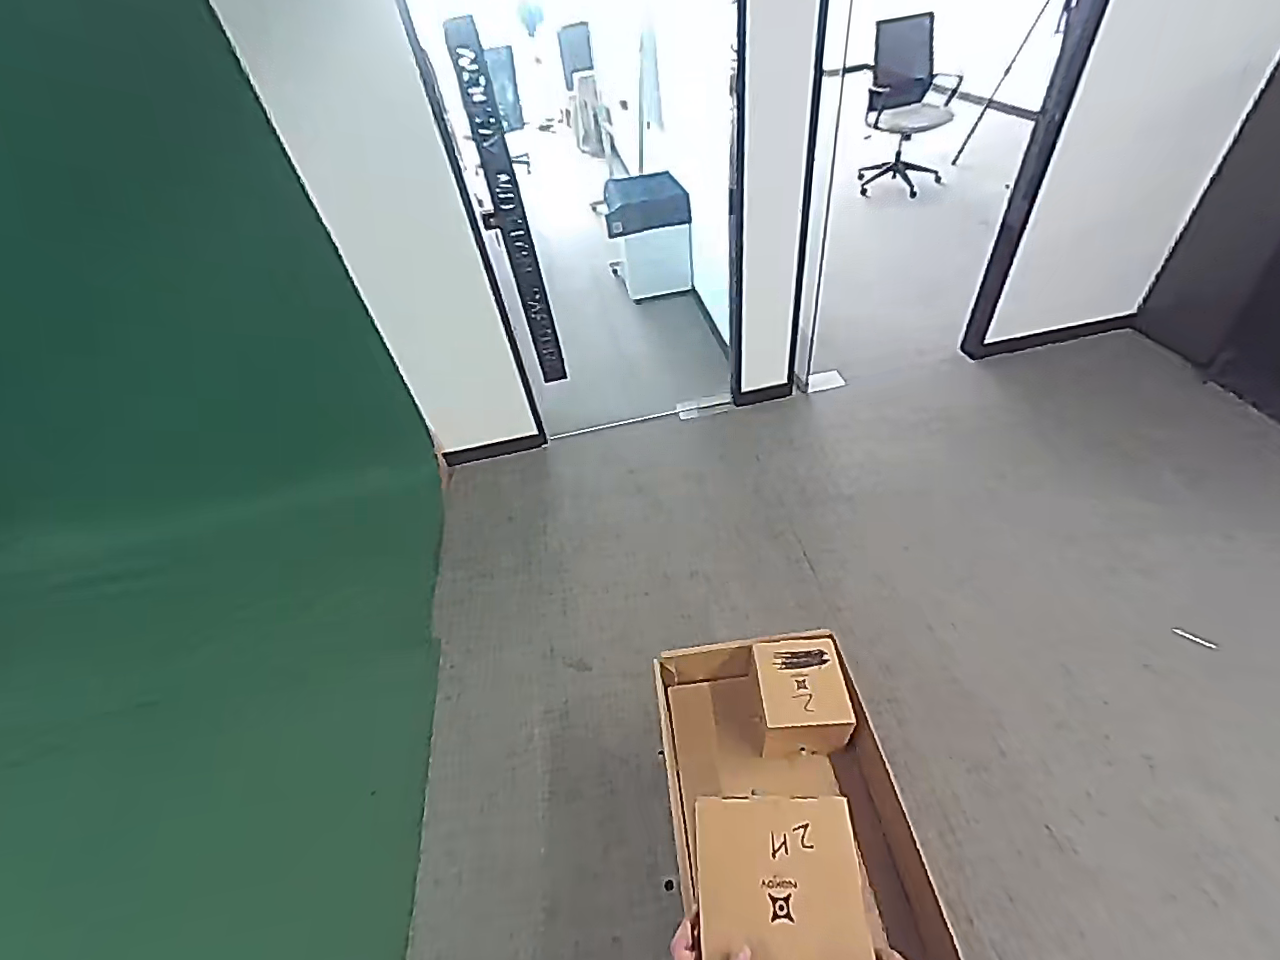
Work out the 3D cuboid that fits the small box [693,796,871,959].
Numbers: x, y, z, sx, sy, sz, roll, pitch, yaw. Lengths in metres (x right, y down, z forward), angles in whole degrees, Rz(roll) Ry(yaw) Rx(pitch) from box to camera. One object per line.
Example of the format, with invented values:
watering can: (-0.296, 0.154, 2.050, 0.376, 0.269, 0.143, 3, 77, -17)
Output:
small box: (0.144, 0.458, 0.601, 0.168, 0.176, 0.179, -1, 57, 4)
